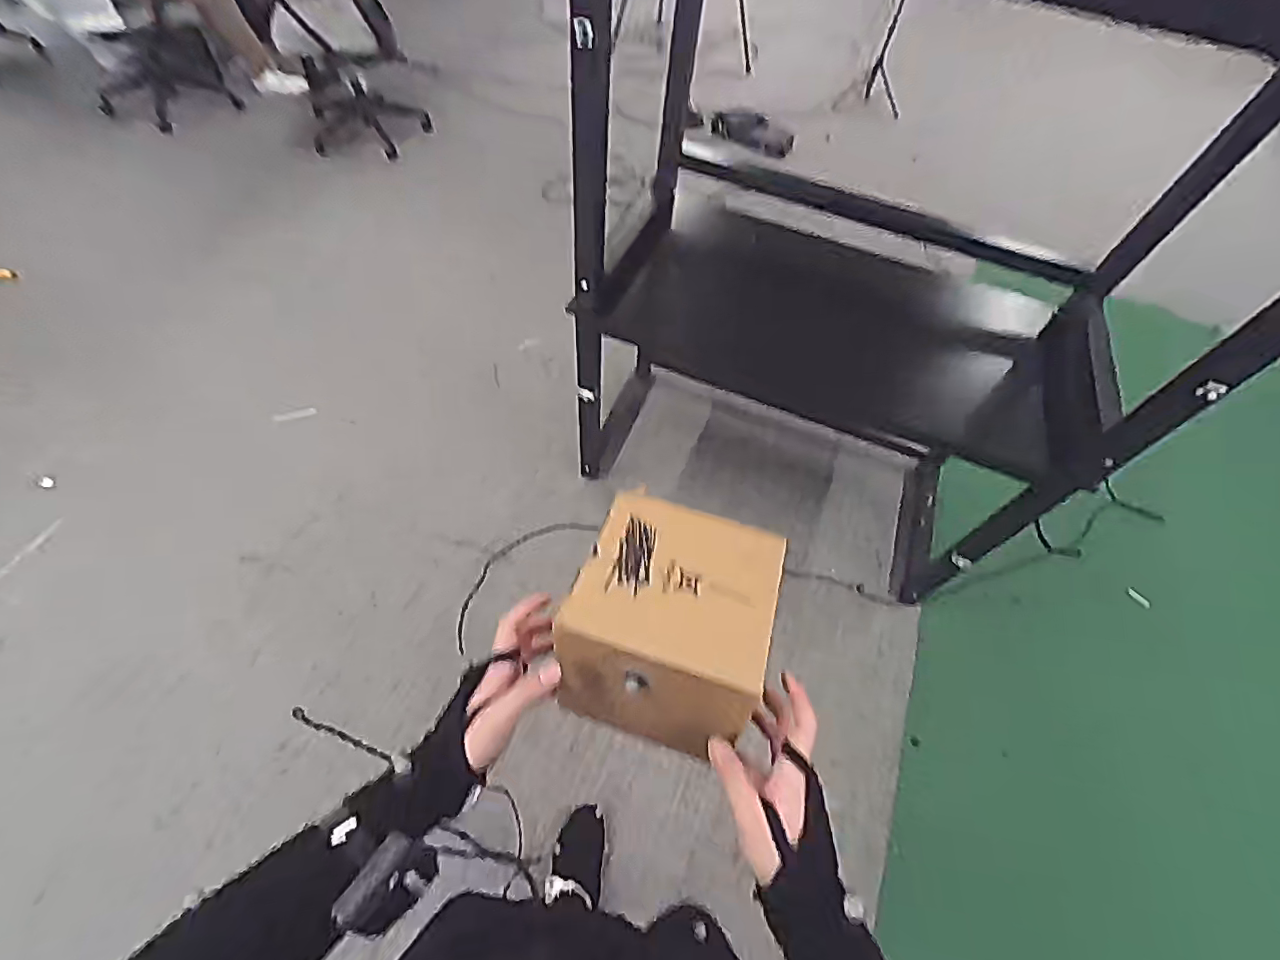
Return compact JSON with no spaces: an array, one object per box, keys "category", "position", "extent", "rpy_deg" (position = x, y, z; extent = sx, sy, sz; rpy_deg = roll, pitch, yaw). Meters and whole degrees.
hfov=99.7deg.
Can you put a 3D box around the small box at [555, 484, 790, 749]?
[{"category":"small box","position":[0.031,0.136,0.532],"extent":[0.179,0.176,0.168],"rpy_deg":[16,46,10]}]
